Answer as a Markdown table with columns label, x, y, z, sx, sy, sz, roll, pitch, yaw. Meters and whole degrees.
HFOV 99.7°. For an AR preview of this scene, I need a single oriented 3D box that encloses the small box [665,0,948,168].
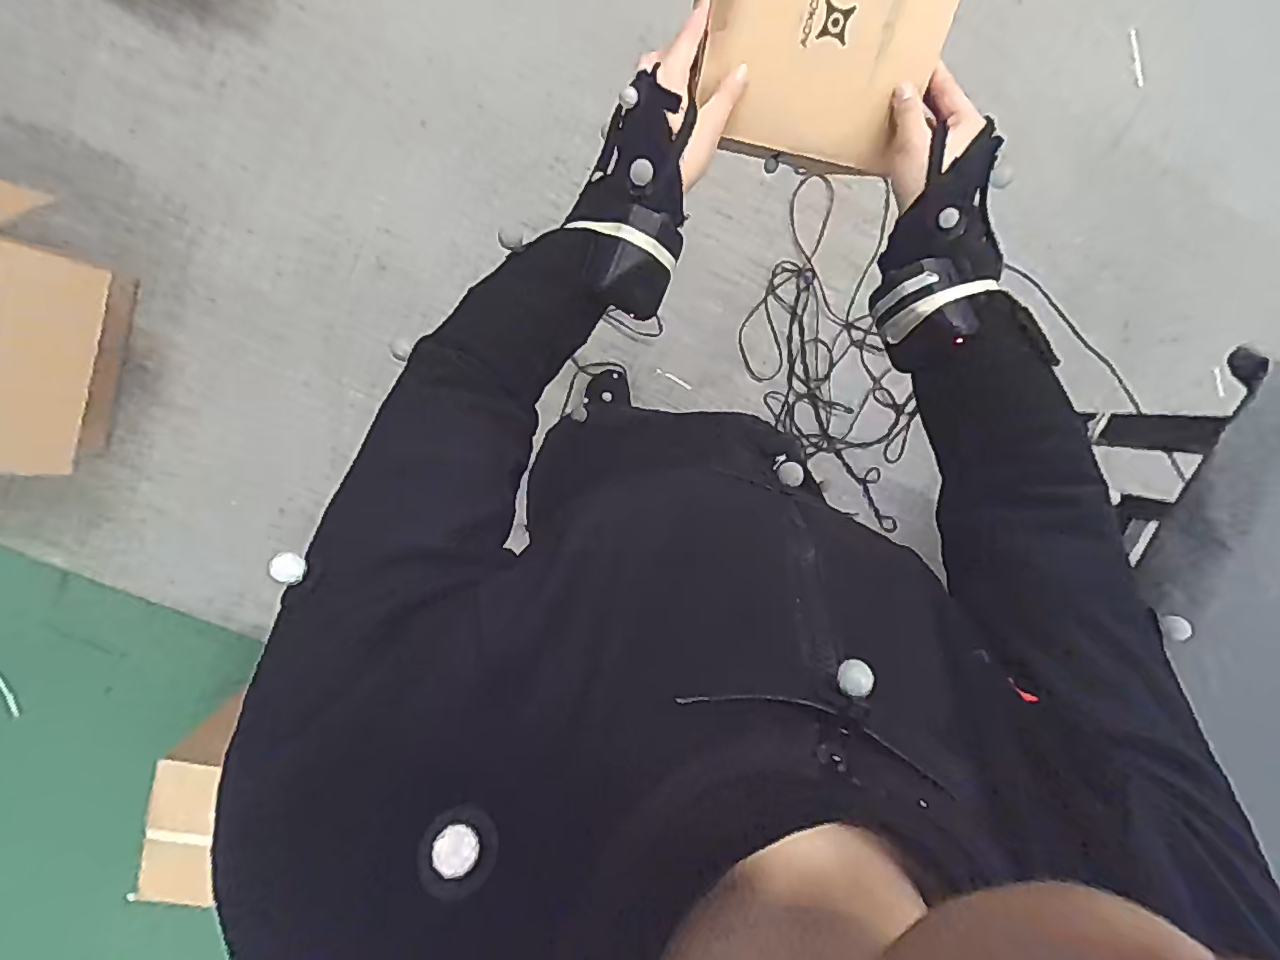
| label | x | y | z | sx | sy | sz | roll | pitch | yaw |
| --- | --- | --- | --- | --- | --- | --- | --- | --- | --- |
| small box | 0.123 | -0.368 | 0.450 | 0.179 | 0.176 | 0.168 | 7 | 120 | -8 |
